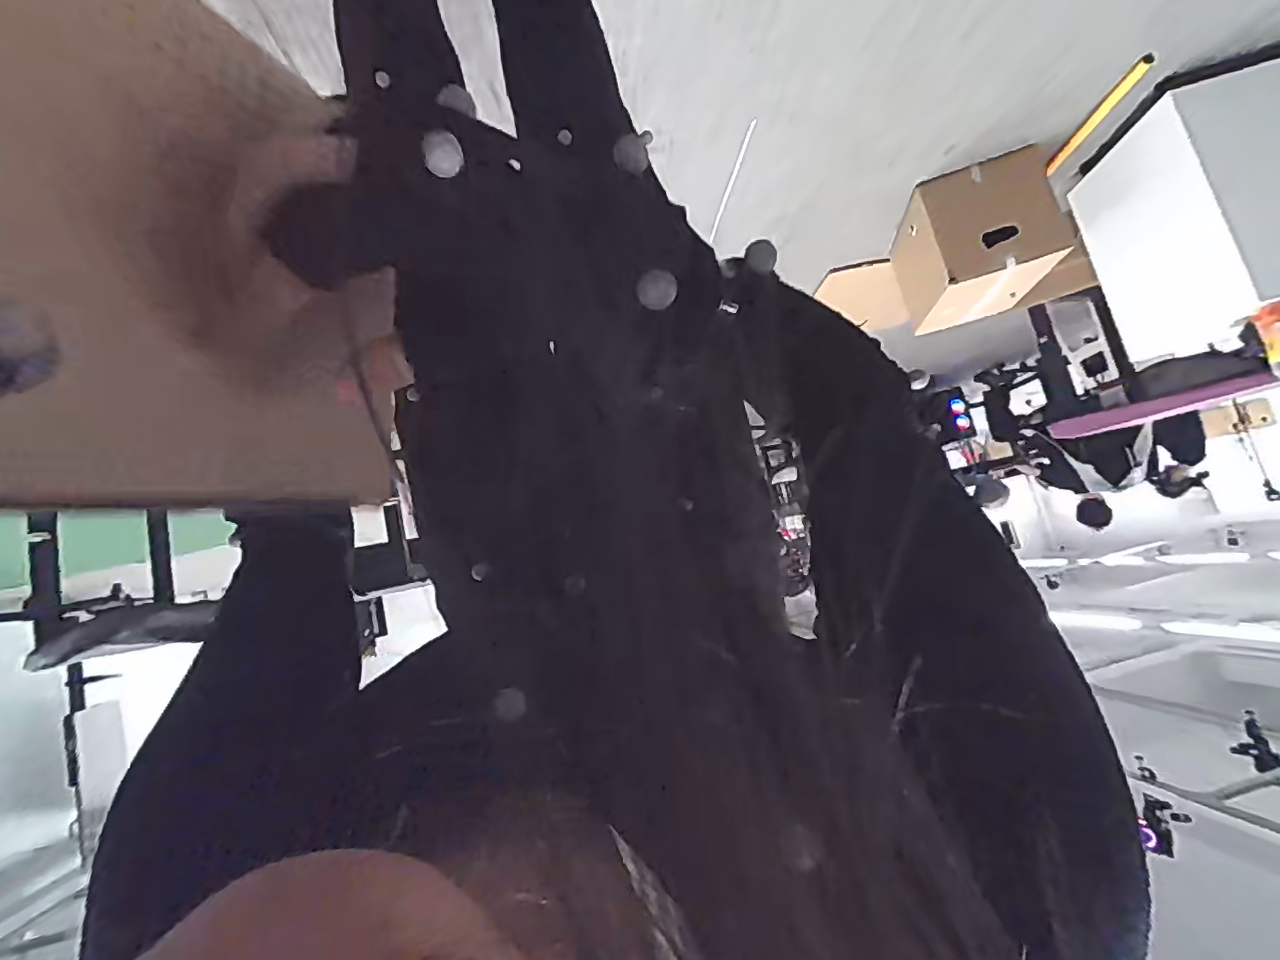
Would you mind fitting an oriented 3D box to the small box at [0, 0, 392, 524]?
[{"bbox_3d":[-0.216,-0.071,0.192,0.168,0.176,0.179,0,178,19],"label":"small box"}]
